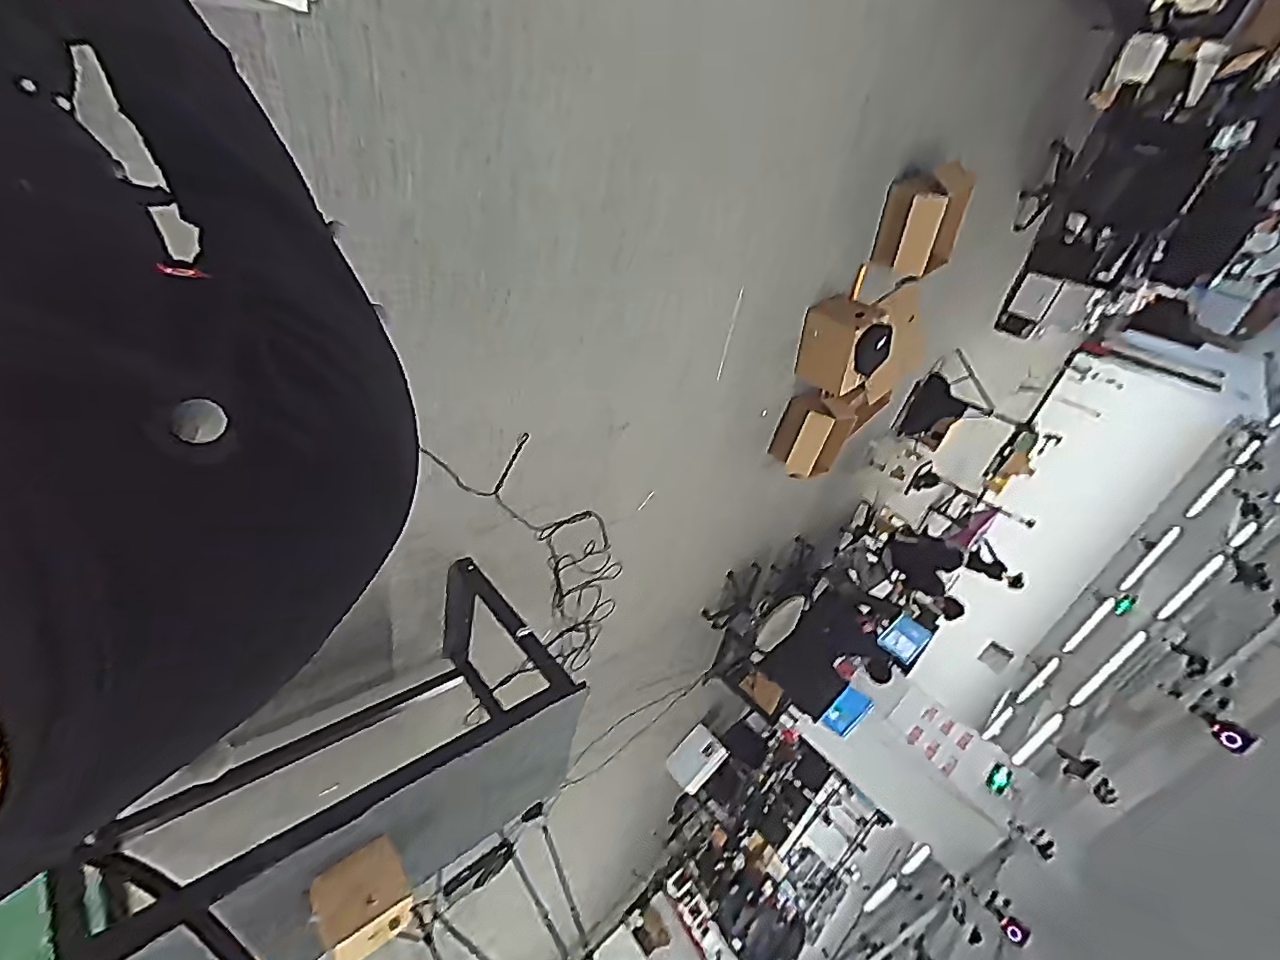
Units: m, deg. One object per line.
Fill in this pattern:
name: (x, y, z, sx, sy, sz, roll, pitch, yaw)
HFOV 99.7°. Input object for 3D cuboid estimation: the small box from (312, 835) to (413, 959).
small box: (-0.681, 1.025, 1.327, 0.179, 0.176, 0.168, -14, 131, -42)
